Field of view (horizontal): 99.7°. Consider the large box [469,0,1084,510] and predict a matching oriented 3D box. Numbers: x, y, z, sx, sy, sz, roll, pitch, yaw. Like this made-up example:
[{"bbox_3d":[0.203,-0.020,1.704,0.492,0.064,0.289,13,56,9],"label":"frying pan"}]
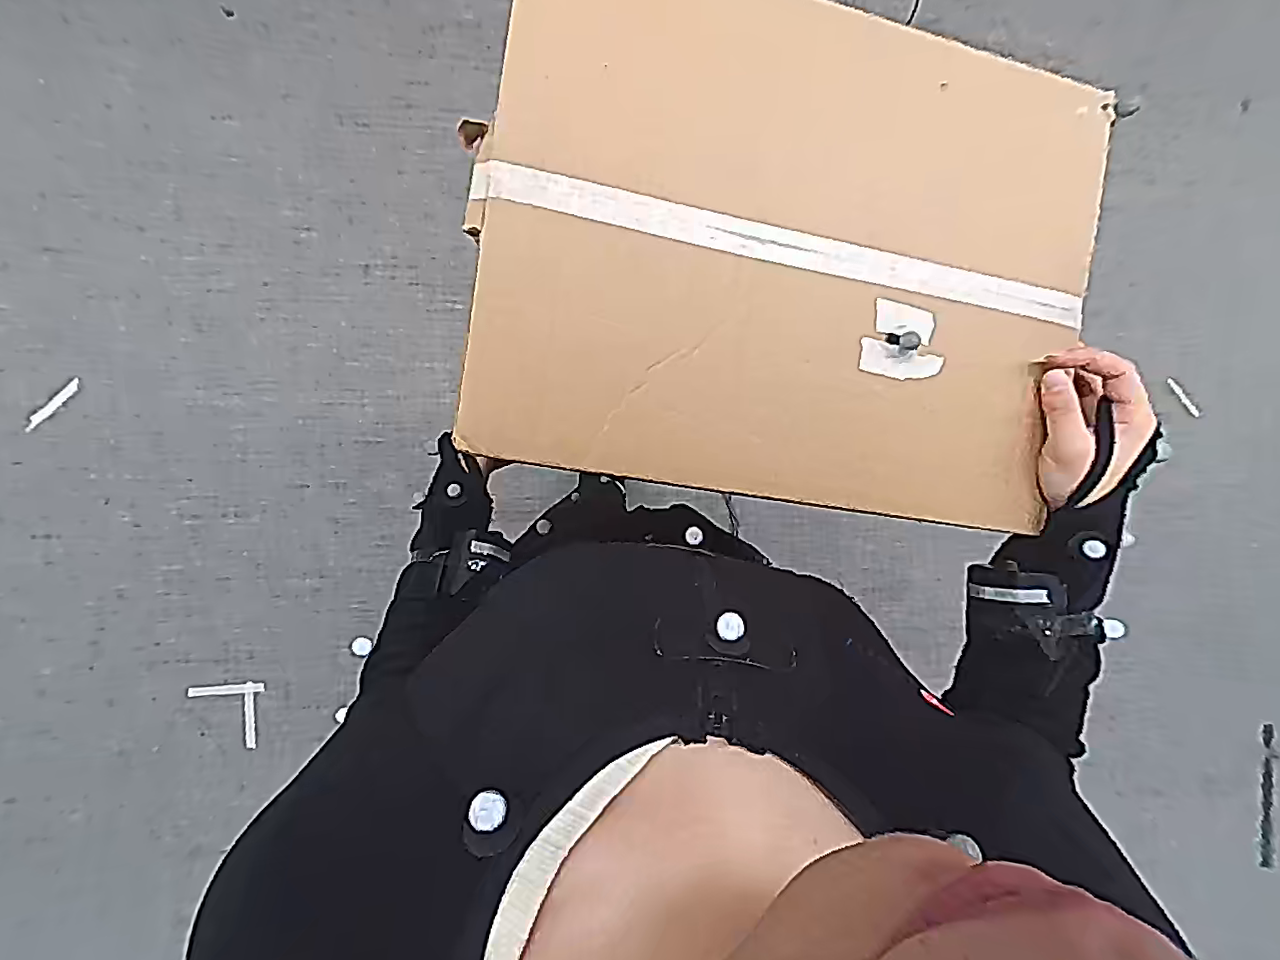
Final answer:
[{"bbox_3d":[0.079,-0.158,0.498,0.408,0.320,0.320,8,92,-12],"label":"large box"}]
